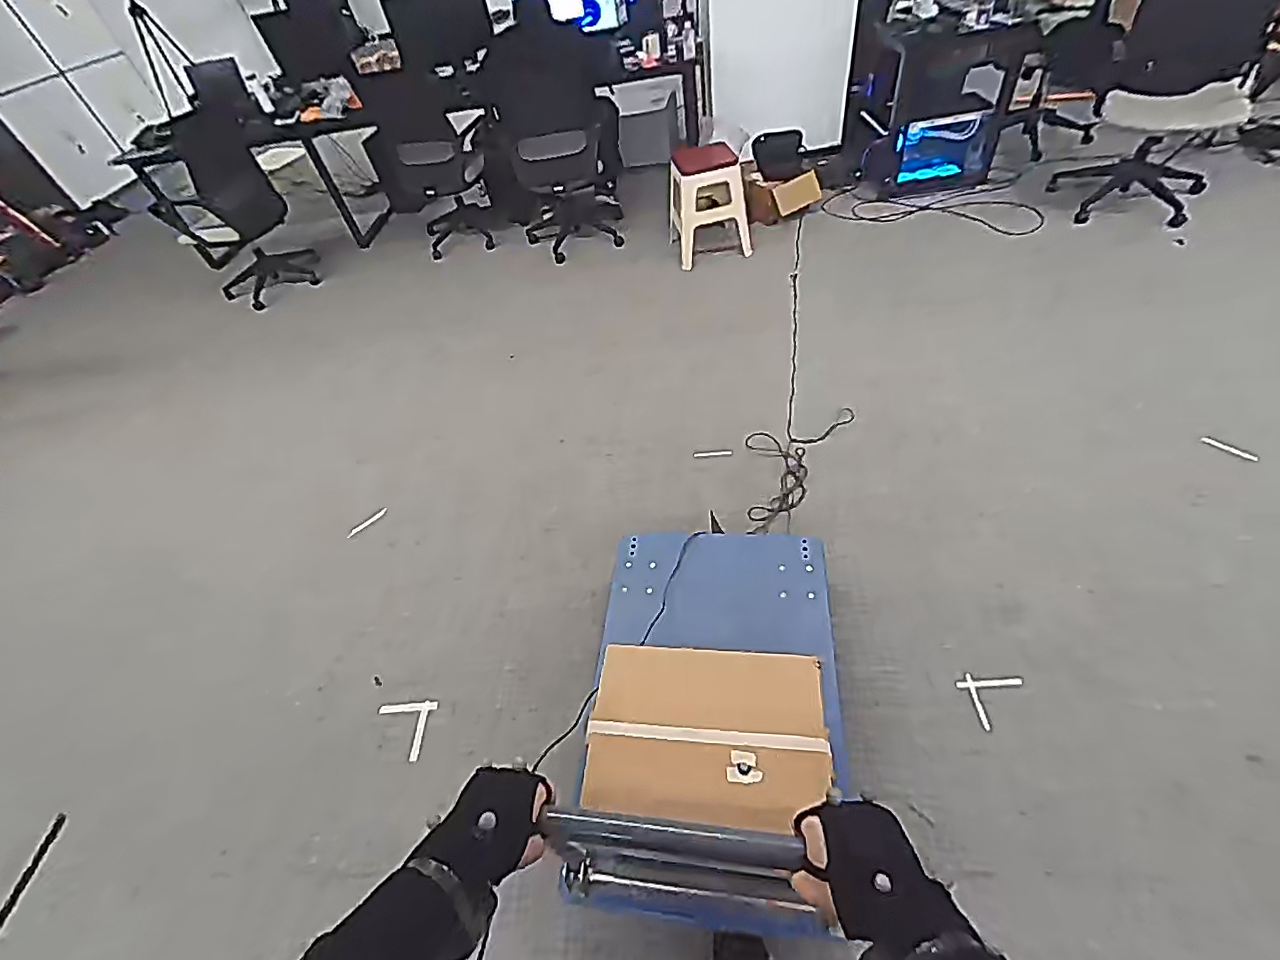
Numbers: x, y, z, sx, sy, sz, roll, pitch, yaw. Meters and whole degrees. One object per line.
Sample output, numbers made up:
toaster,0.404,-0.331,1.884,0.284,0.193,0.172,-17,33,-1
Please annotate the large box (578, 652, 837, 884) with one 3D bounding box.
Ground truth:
large box,0.128,0.546,1.030,0.408,0.320,0.320,0,50,10
